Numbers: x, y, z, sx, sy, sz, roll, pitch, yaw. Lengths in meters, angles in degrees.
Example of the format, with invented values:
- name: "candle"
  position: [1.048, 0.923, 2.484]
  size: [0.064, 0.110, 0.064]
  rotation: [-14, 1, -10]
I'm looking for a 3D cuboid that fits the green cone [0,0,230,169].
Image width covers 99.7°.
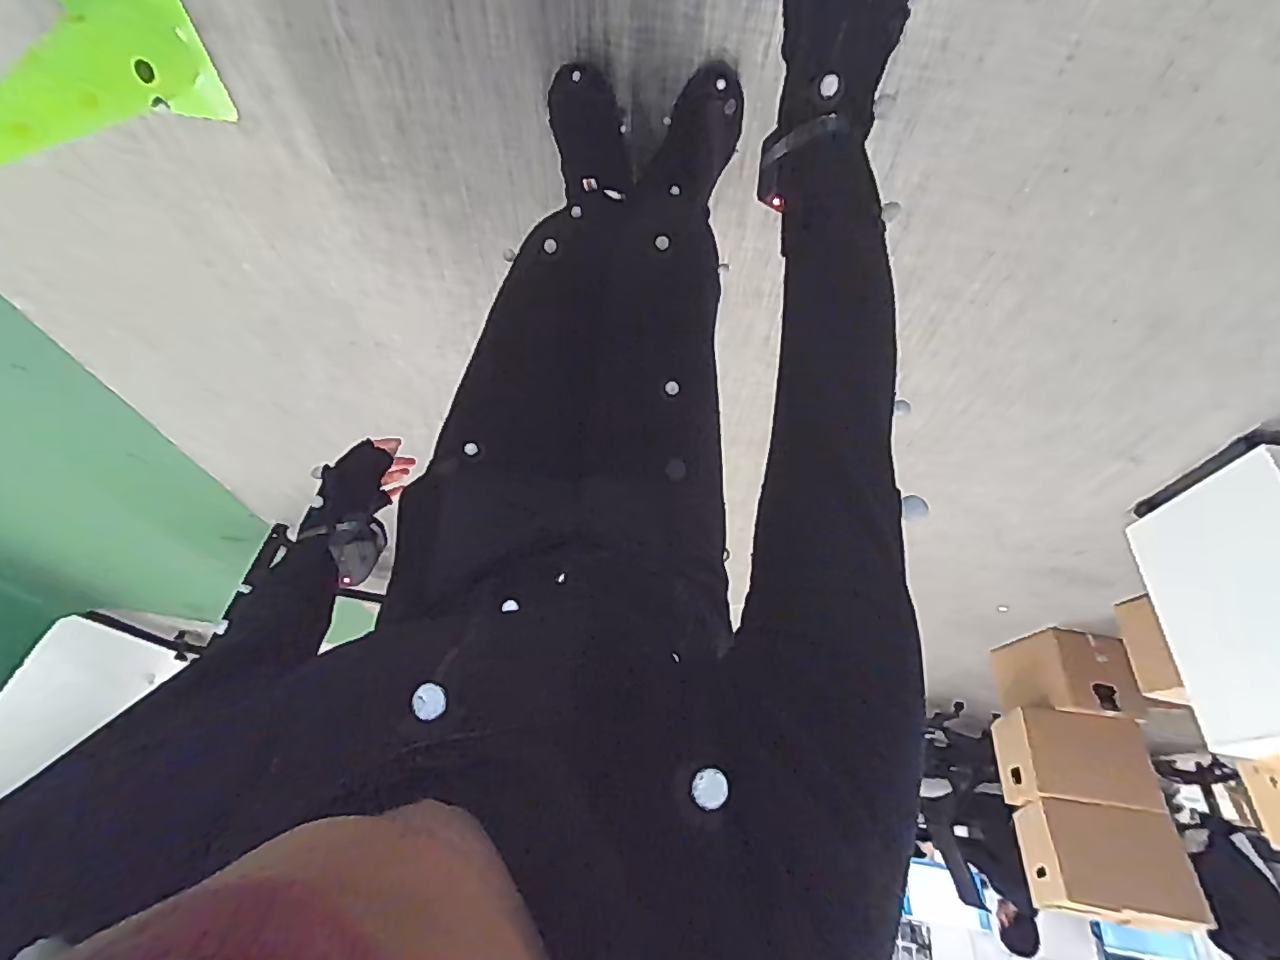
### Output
- name: "green cone"
  position: [-0.798, -0.520, 0.742]
  size: [0.202, 0.368, 0.200]
  rotation: [8, 148, 2]
